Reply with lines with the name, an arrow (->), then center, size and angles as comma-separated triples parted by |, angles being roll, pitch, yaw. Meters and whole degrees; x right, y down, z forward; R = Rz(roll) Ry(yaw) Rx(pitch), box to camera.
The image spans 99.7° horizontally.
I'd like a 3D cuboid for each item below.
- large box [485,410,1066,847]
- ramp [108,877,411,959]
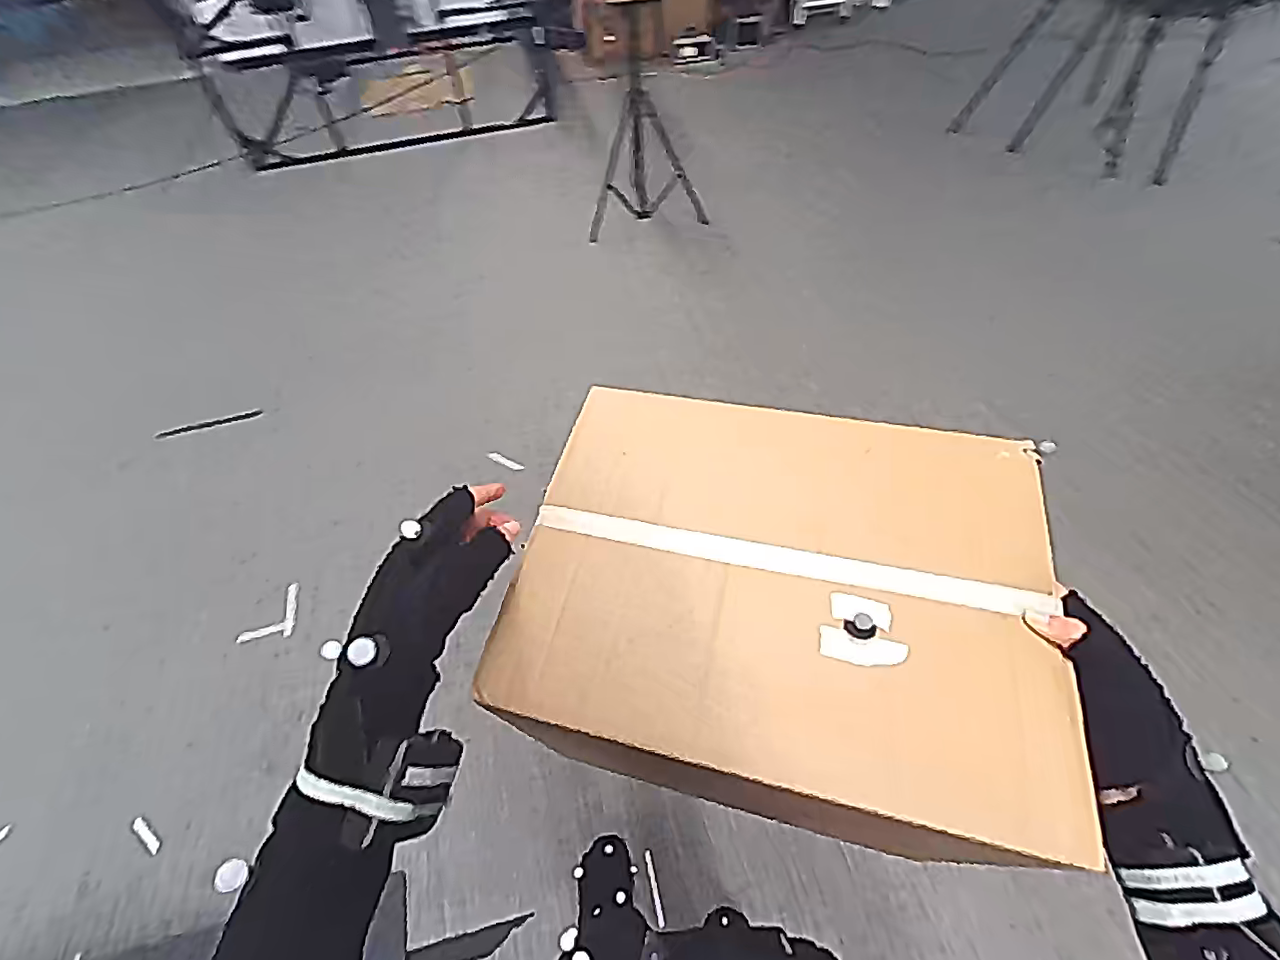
large box -> 0.117, 0.158, 0.572 | 0.408, 0.320, 0.320 | 8, 58, 12
ramp -> -0.939, 1.140, 0.961 | 0.991, 0.206, 0.509 | -15, 52, -7
